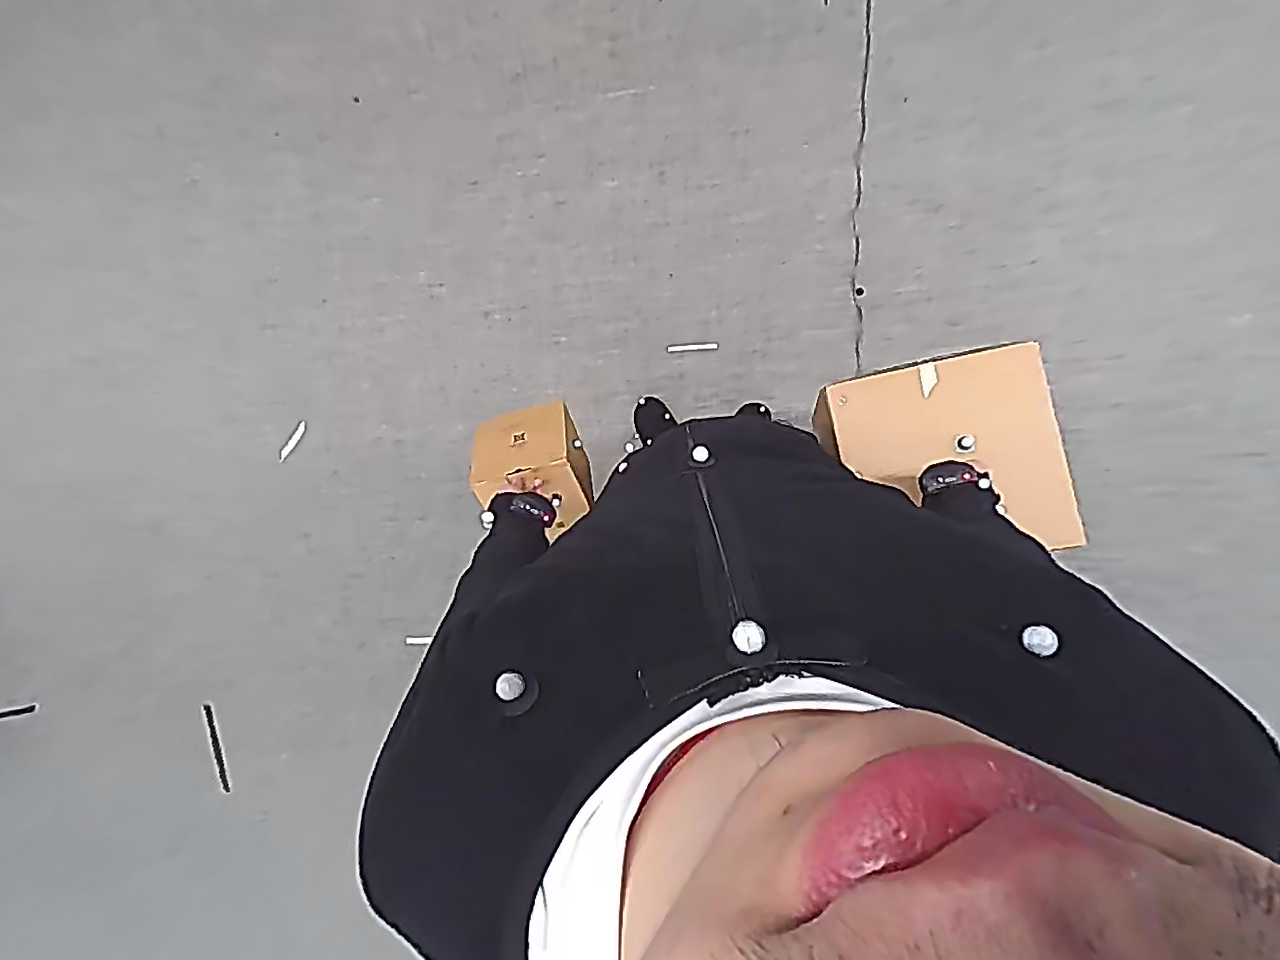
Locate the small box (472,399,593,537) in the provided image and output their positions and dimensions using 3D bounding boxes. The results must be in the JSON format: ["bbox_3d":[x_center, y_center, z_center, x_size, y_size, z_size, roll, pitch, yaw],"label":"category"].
[{"bbox_3d":[-0.188,-0.014,0.986,0.168,0.179,0.176,-15,132,3],"label":"small box"}]
